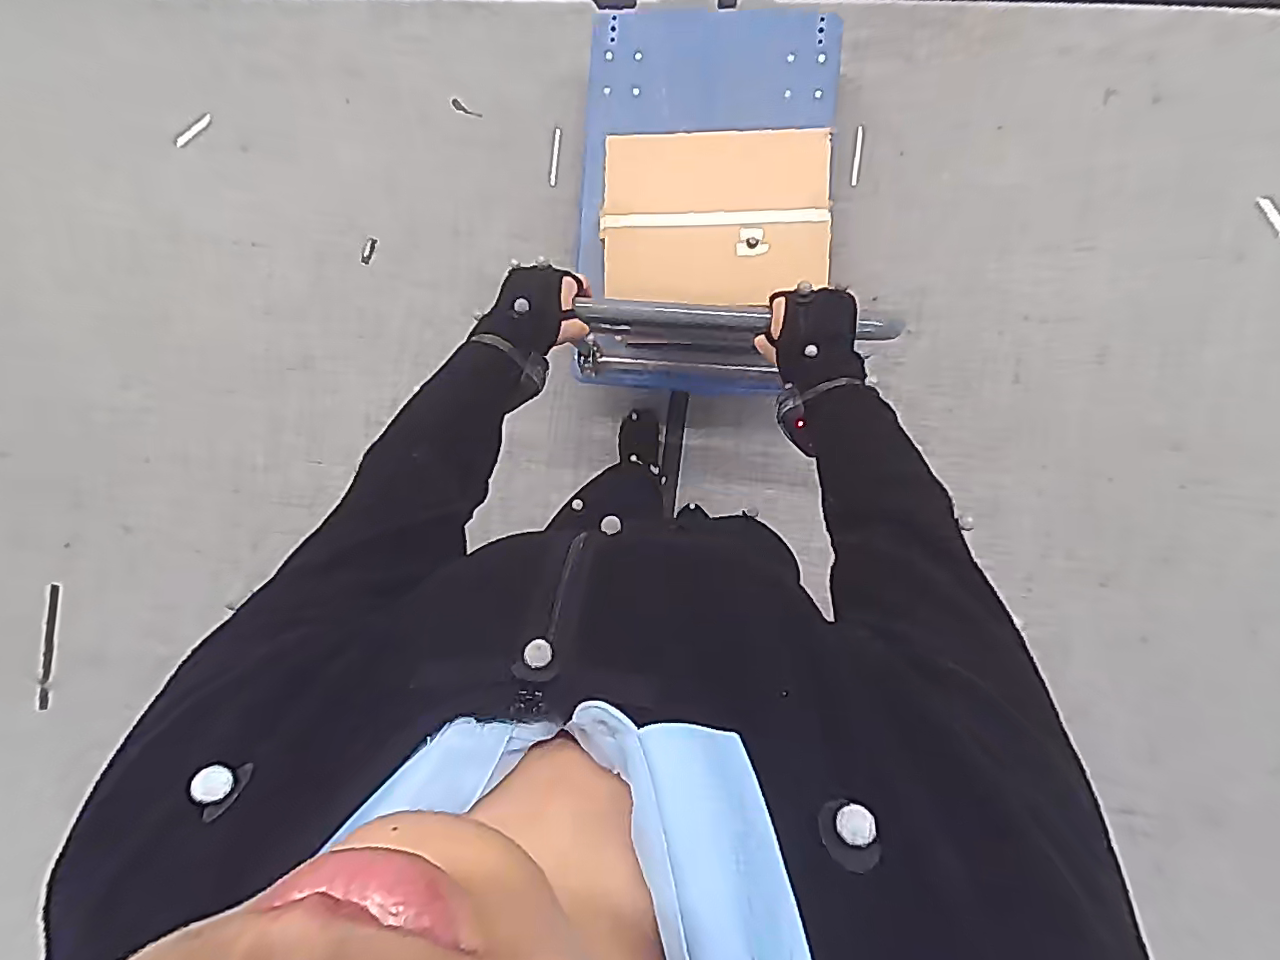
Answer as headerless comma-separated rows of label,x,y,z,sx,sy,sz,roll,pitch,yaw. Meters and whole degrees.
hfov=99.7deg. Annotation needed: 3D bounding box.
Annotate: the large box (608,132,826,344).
large box,0.147,-0.479,1.140,0.408,0.320,0.320,1,92,4
